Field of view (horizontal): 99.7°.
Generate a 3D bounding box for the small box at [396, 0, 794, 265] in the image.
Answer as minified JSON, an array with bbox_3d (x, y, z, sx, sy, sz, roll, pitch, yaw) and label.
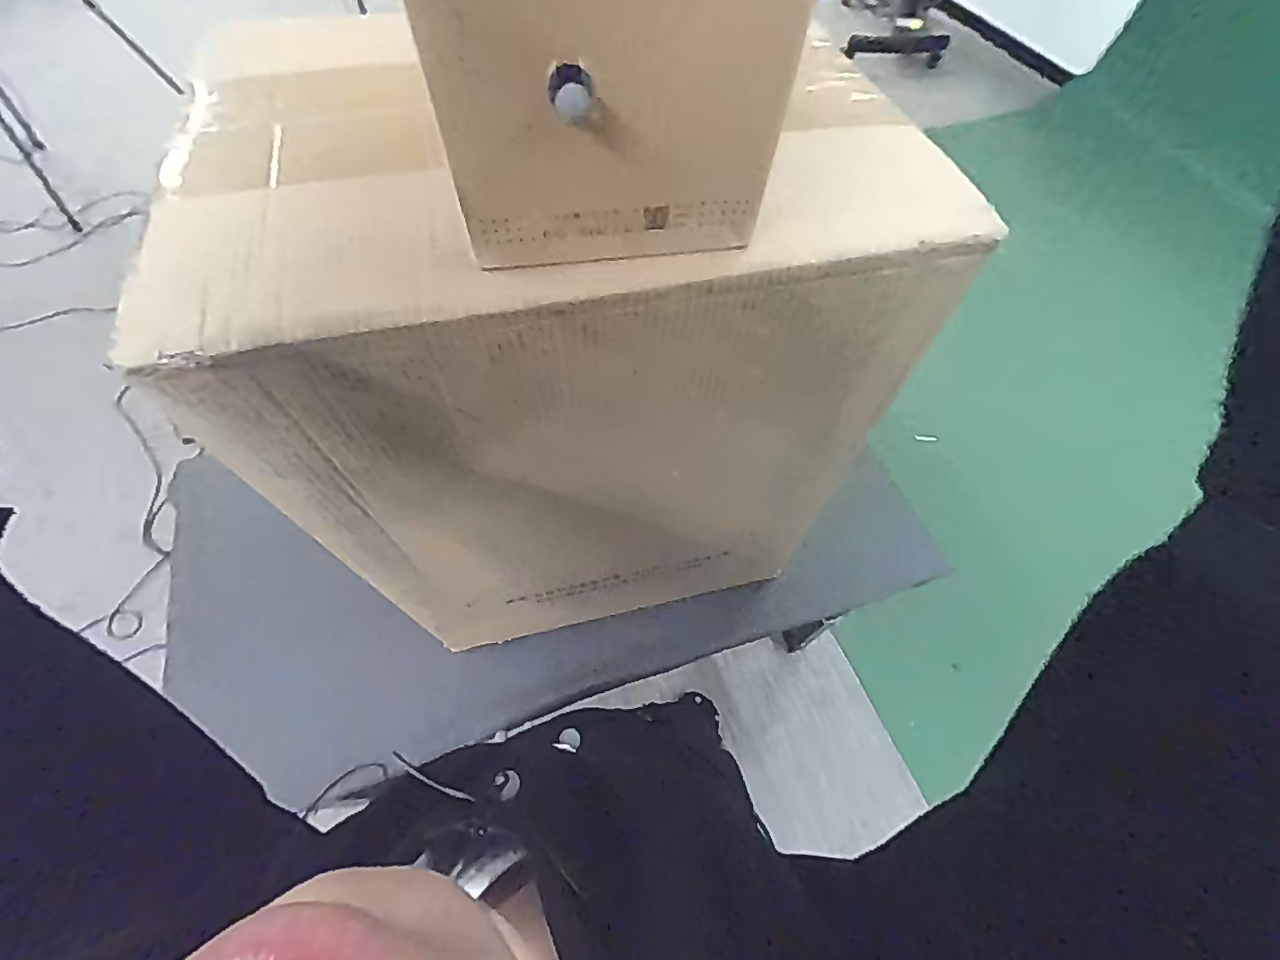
[{"bbox_3d":[-0.025,-0.237,0.294,0.168,0.176,0.179,-8,62,-7],"label":"small box"}]
